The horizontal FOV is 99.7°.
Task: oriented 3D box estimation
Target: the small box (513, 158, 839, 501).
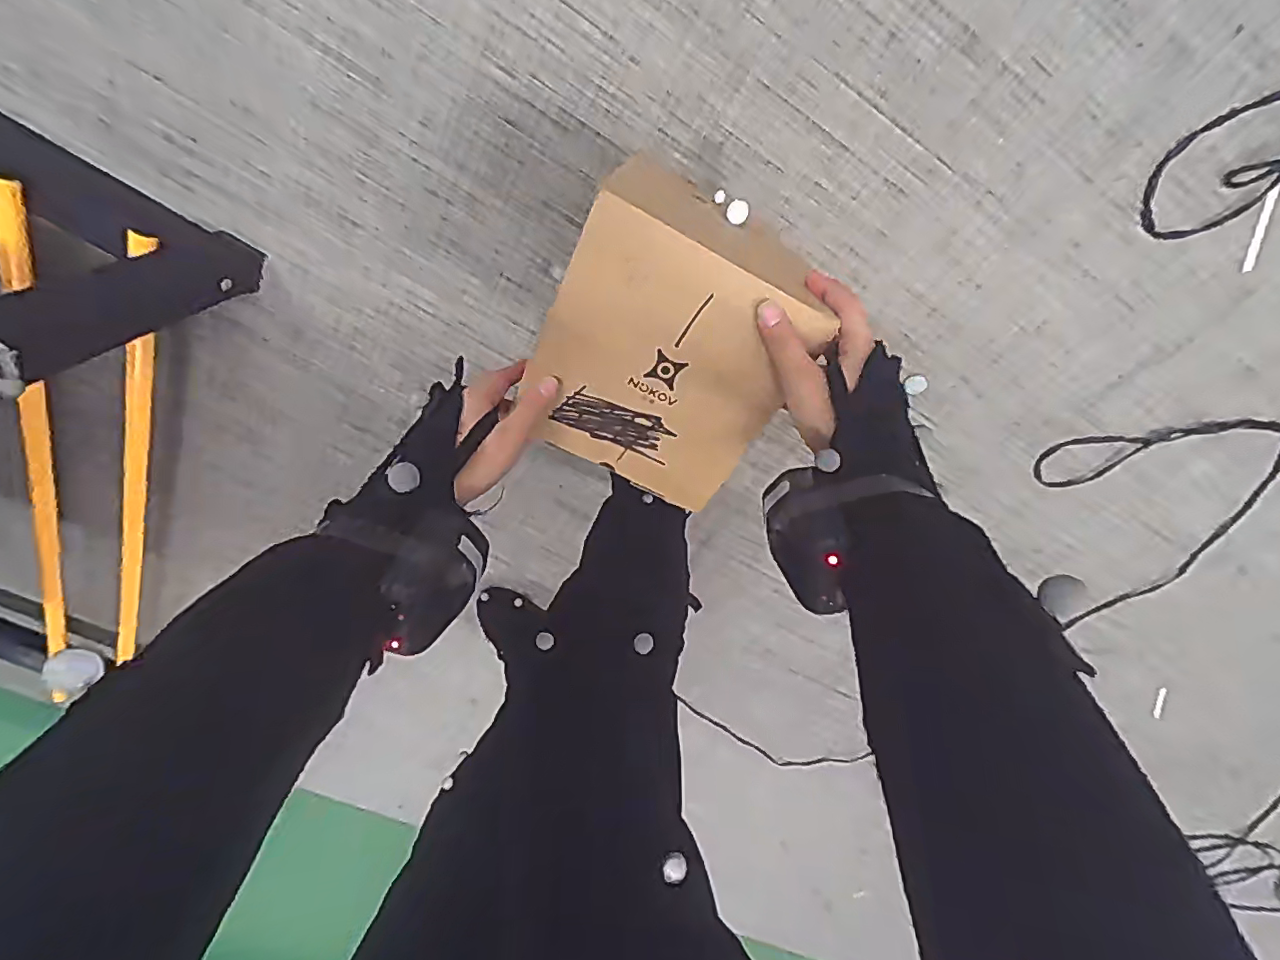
[{"bbox_3d":[0.023,-0.122,0.429,0.168,0.176,0.179,25,124,-12],"label":"small box"}]
